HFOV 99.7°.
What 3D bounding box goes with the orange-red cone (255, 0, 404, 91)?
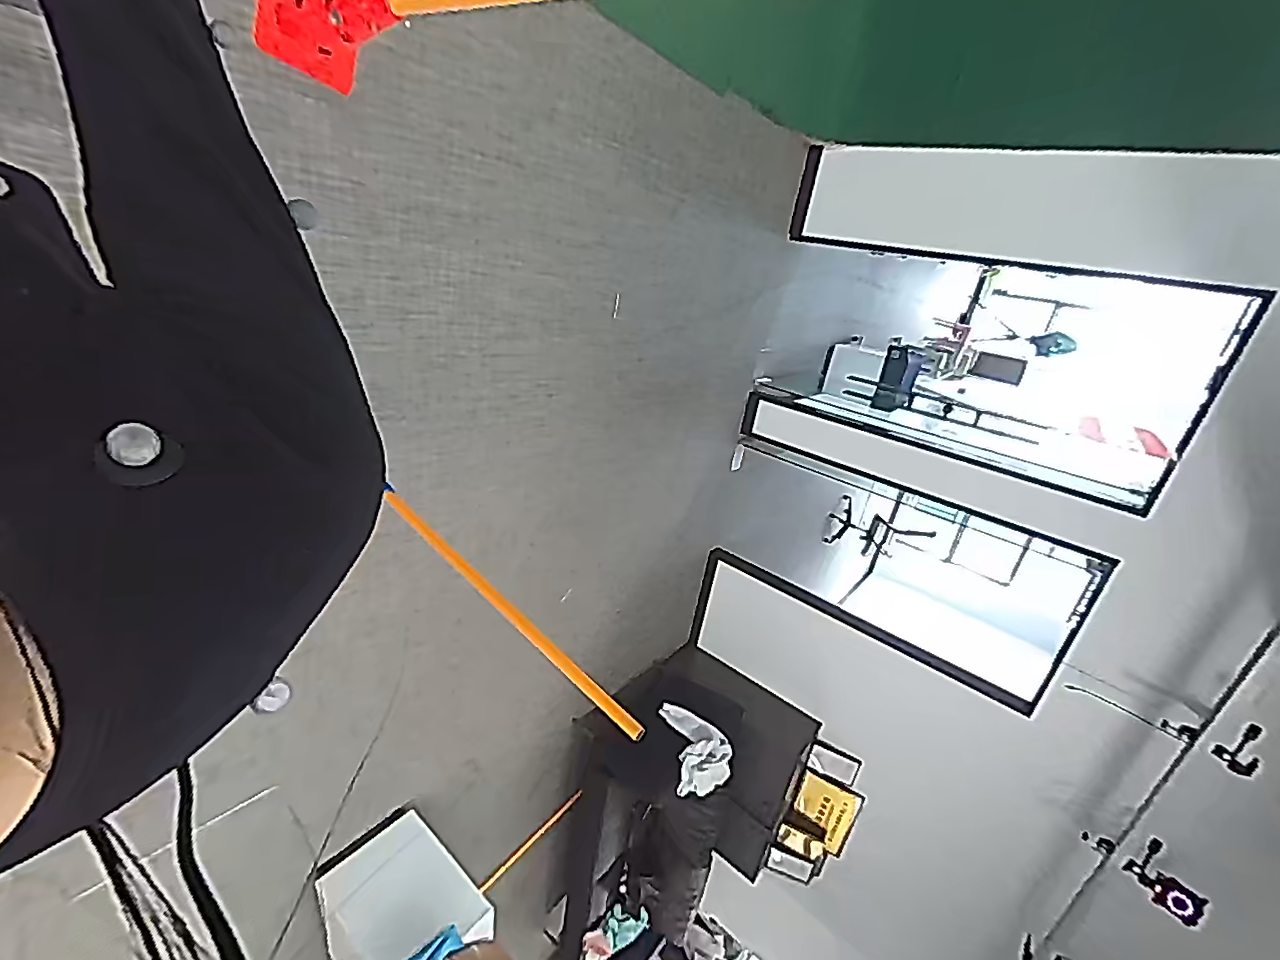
[{"bbox_3d":[-0.580,-0.930,1.079,0.198,0.360,0.199,0,111,-55],"label":"orange-red cone"}]
